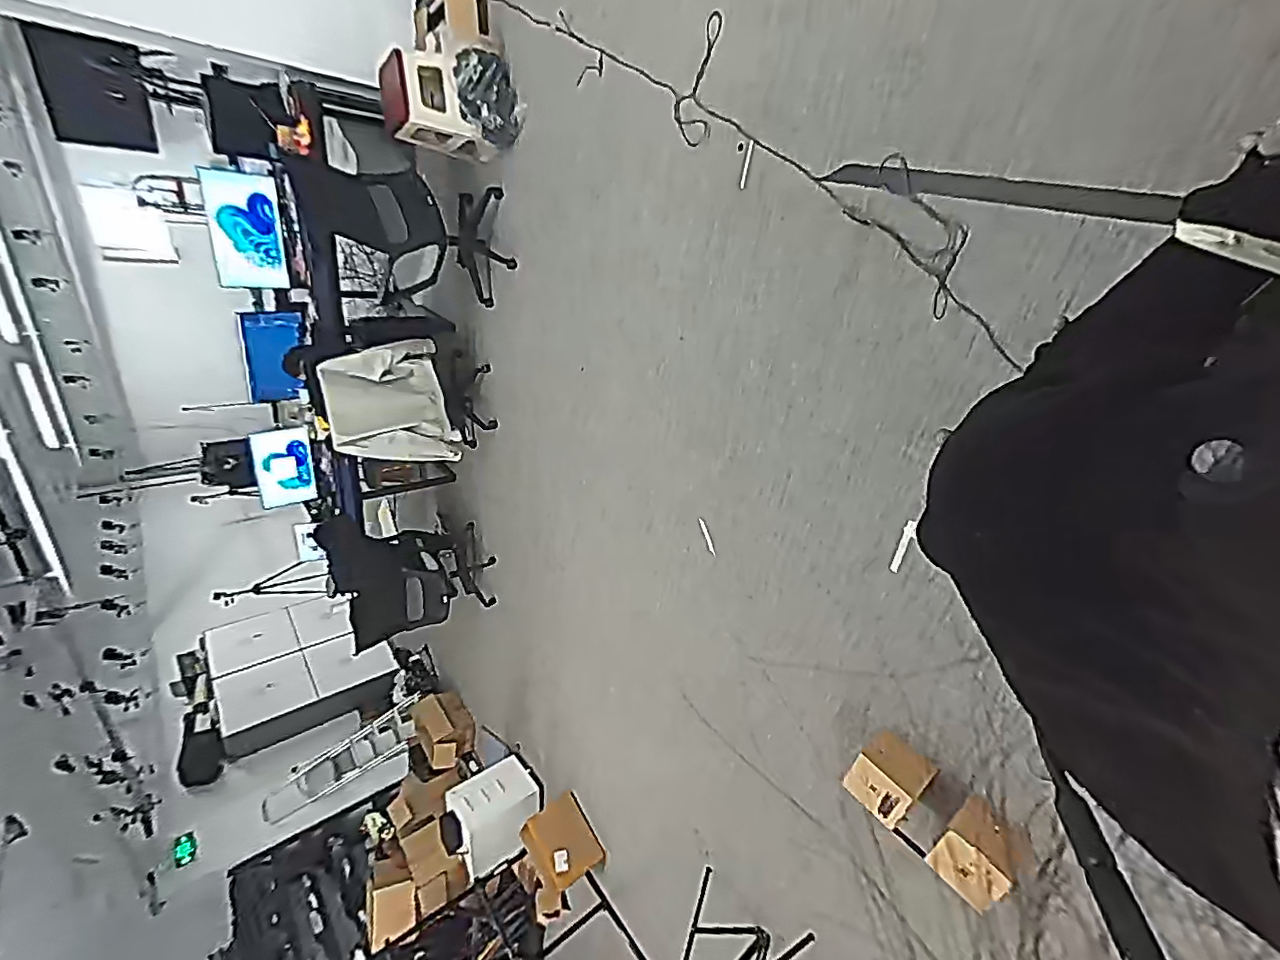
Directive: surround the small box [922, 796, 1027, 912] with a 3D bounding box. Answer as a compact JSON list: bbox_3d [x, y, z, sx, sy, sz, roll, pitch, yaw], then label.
[{"bbox_3d":[0.933,1.033,1.505,0.168,0.176,0.179,37,128,37],"label":"small box"}]
